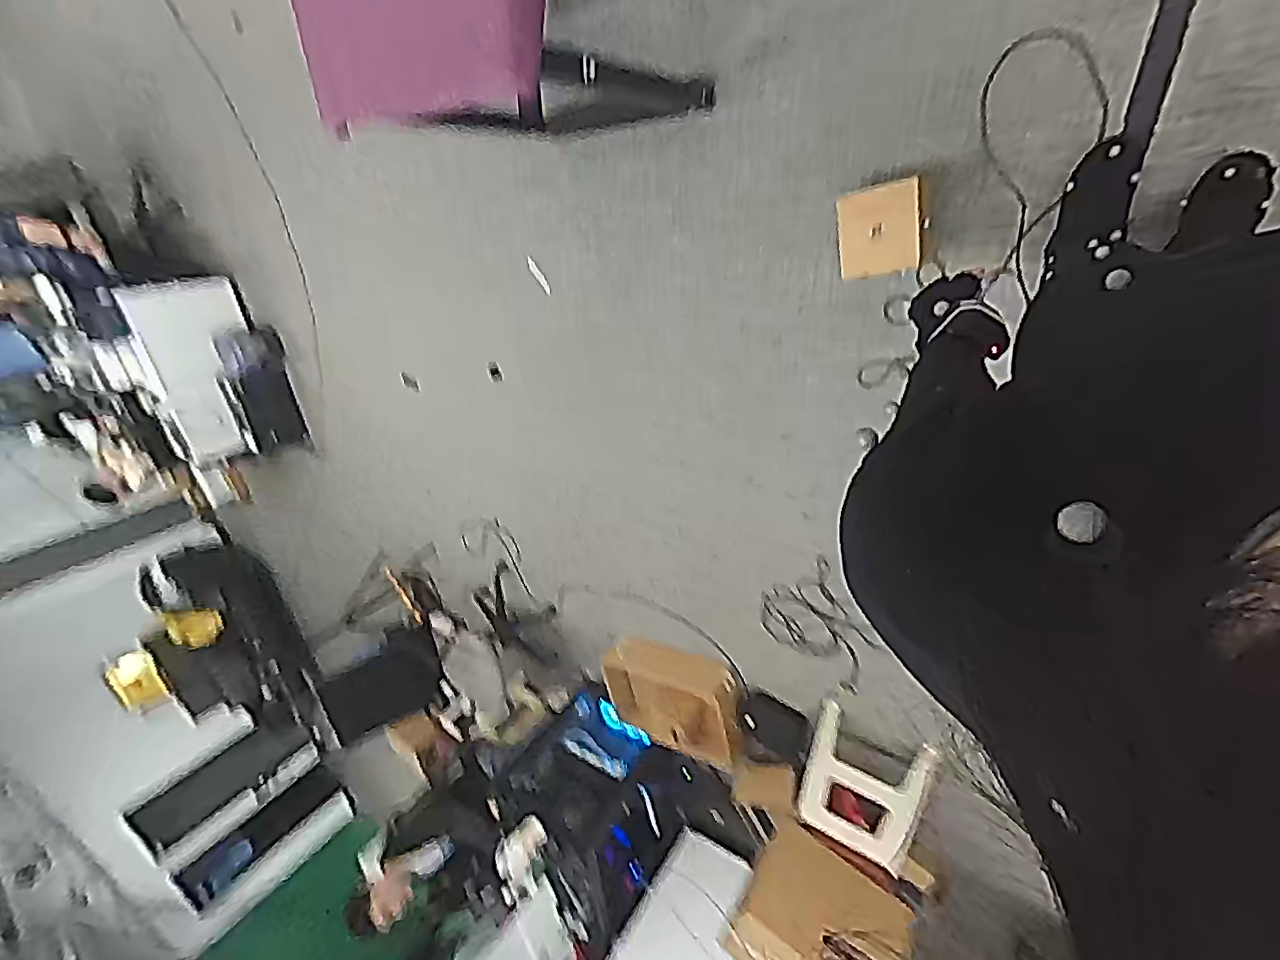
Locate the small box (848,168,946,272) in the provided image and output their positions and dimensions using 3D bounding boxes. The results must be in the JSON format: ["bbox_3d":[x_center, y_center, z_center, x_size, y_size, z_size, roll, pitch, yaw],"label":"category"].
[{"bbox_3d":[0.582,-0.582,1.216,0.168,0.176,0.179,3,113,38],"label":"small box"}]
